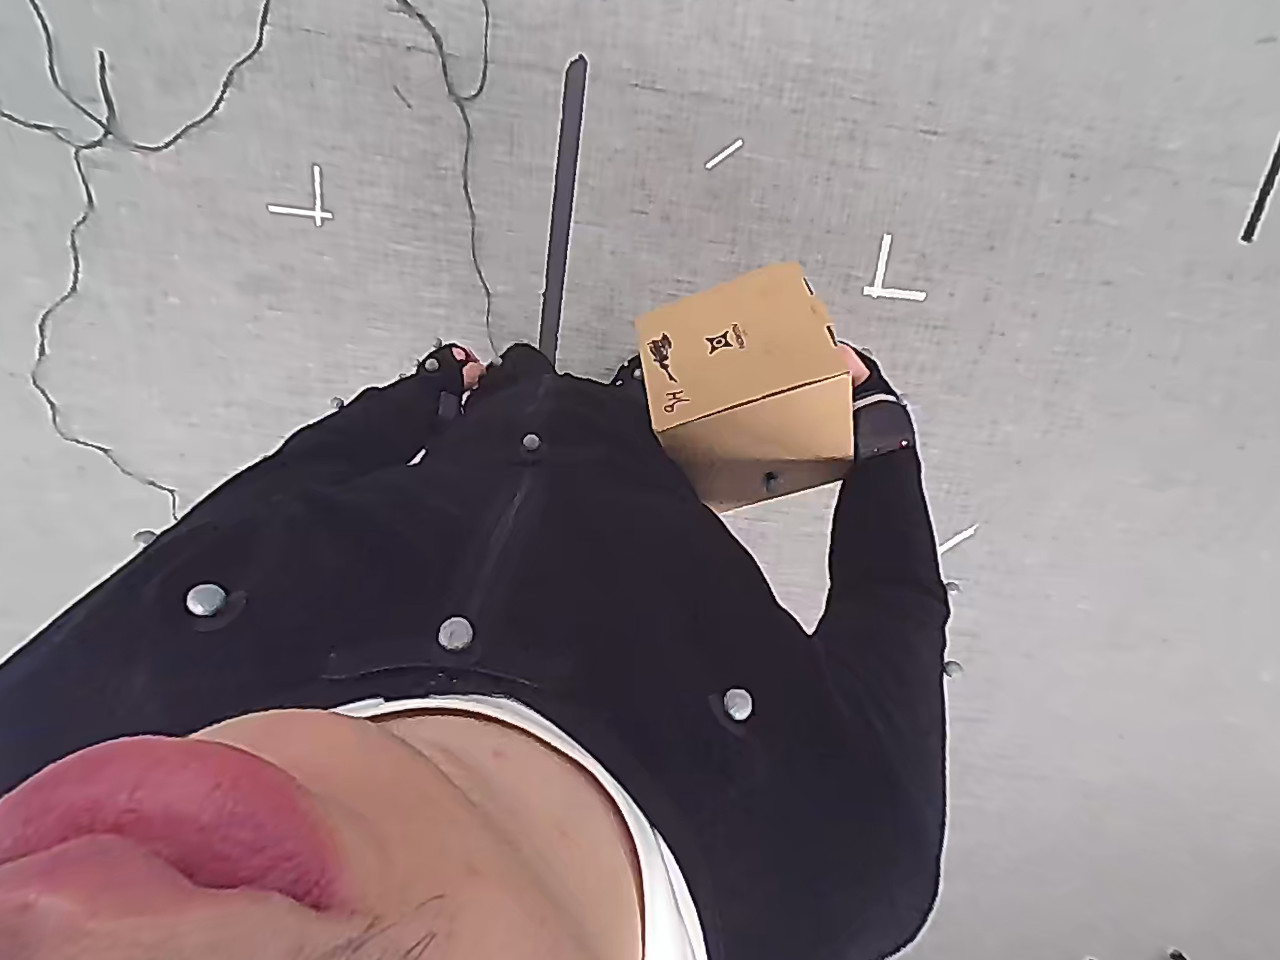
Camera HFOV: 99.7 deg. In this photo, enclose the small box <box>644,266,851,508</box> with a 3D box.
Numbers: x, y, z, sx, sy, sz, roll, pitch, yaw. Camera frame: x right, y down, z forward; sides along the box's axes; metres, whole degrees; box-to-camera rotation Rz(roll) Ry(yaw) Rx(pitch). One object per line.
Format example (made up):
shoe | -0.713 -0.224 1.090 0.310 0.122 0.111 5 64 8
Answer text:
small box | 0.118 -0.092 0.594 0.179 0.168 0.176 -16 143 12
